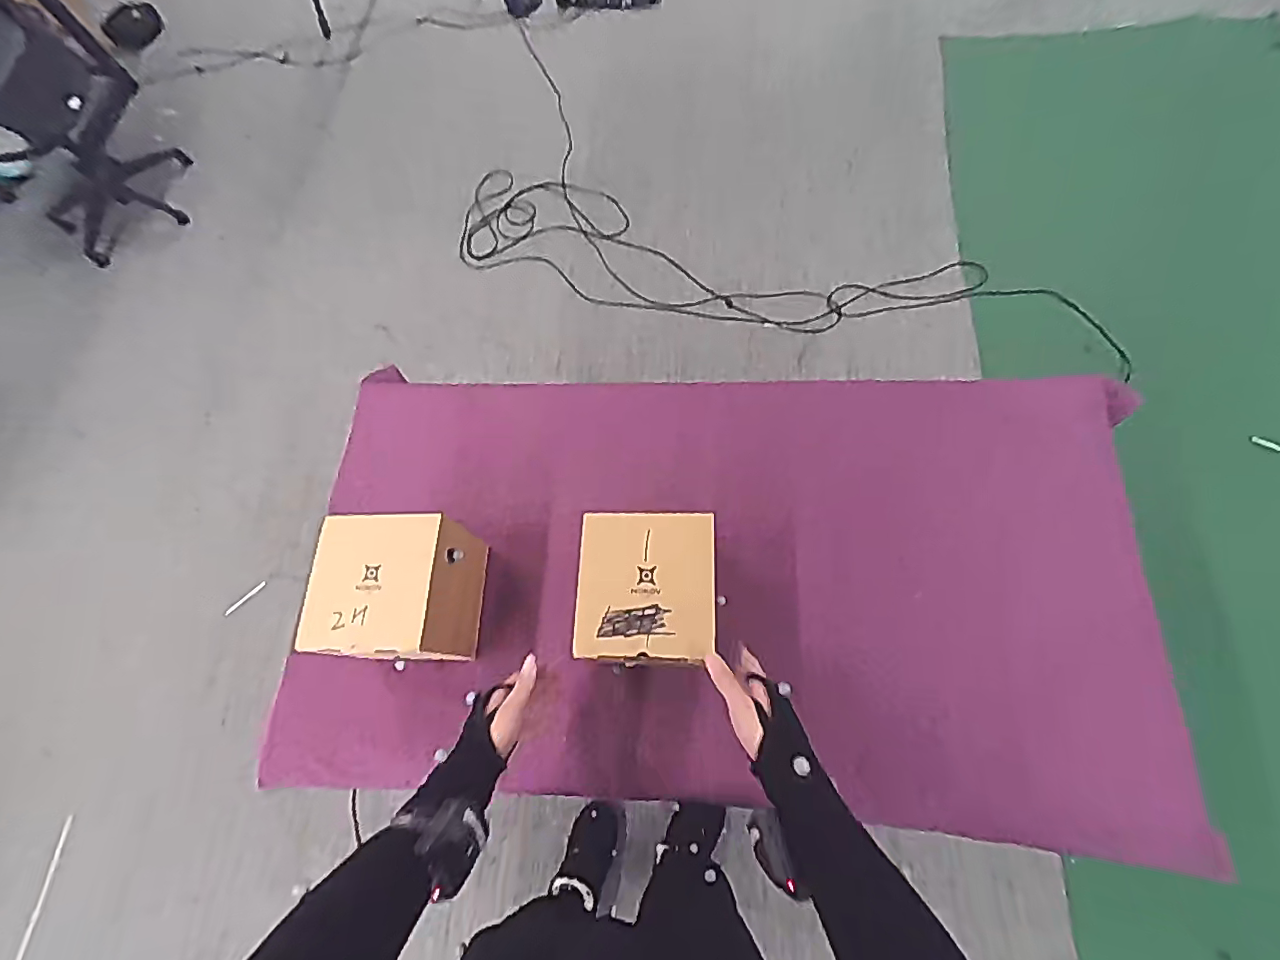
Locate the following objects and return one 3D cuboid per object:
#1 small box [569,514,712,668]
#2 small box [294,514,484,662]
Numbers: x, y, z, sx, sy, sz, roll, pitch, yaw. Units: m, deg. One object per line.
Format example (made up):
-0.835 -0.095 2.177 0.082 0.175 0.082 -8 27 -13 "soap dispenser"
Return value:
0.012 0.153 0.716 0.168 0.176 0.179 0 68 7 "small box"
-0.333 0.156 0.758 0.168 0.176 0.179 -1 69 7 "small box"
